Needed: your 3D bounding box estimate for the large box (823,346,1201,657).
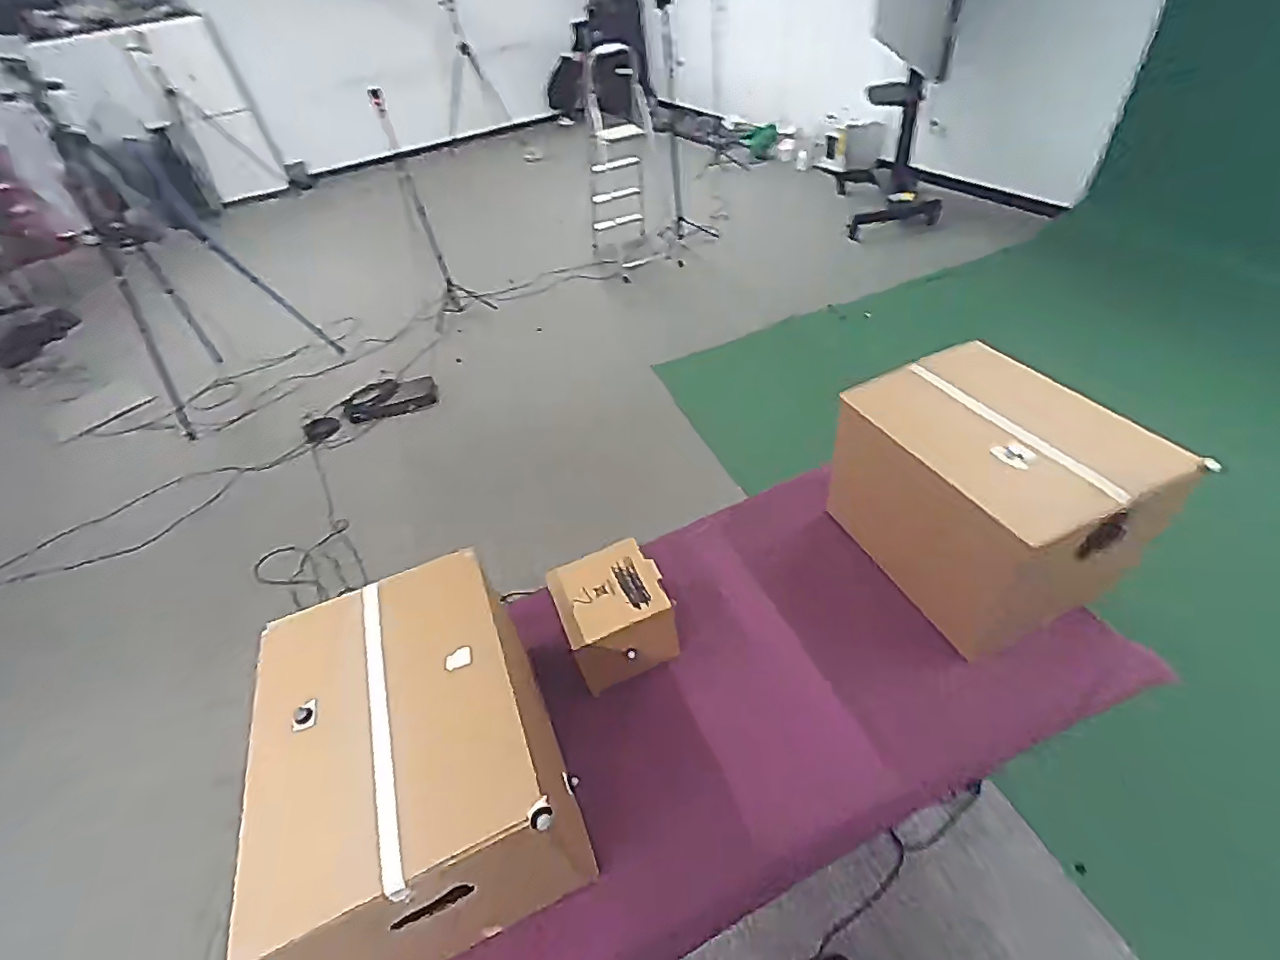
[{"bbox_3d":[0.588,0.024,0.963,0.320,0.320,0.408,-22,45,-10],"label":"large box"}]
